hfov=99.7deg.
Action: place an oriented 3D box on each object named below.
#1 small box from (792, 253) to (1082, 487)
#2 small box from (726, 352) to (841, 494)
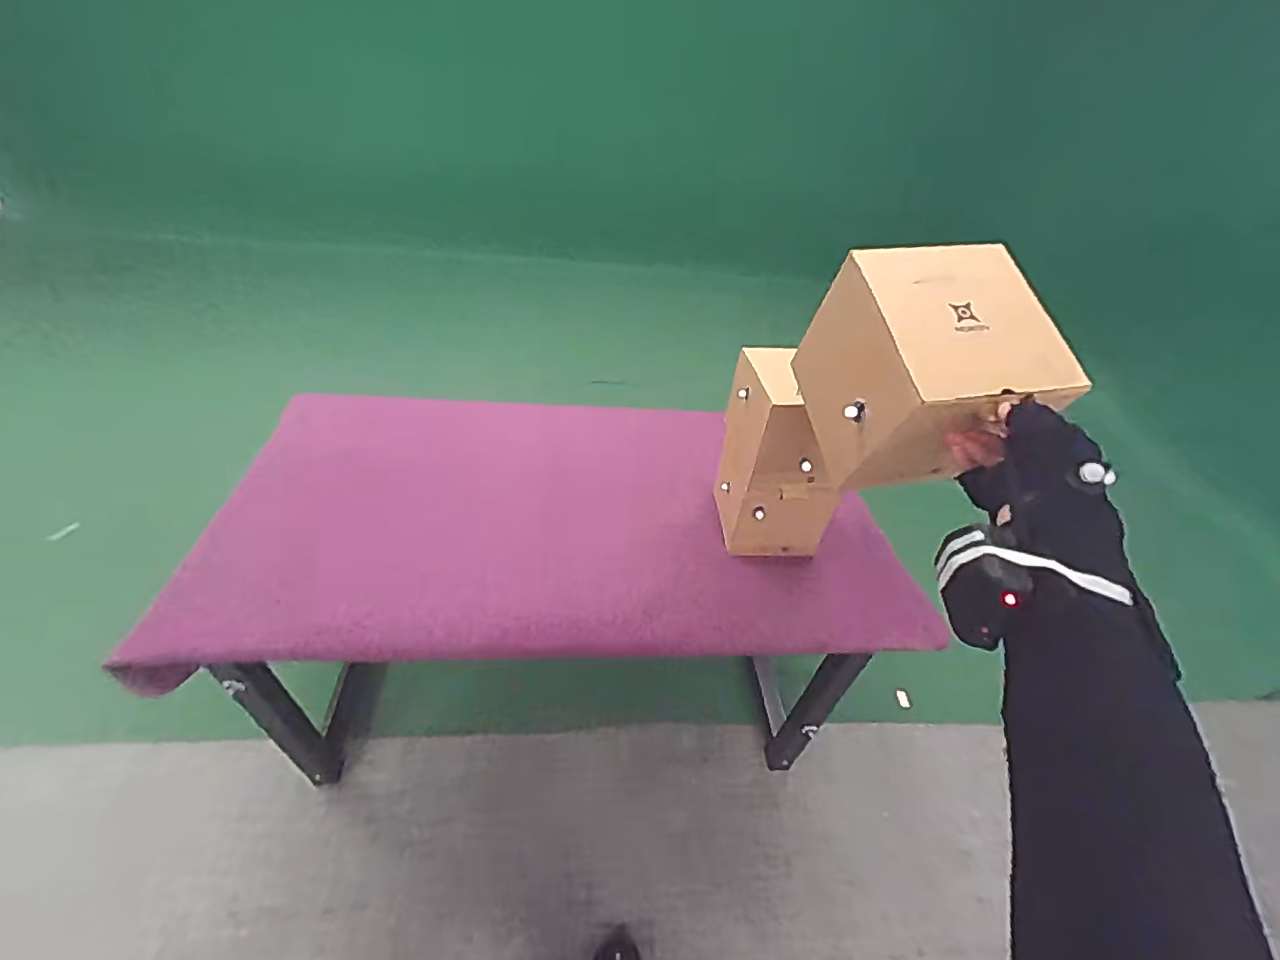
[{"bbox_3d":[0.279,-0.102,0.557,0.168,0.176,0.179,-6,65,-9],"label":"small box"},{"bbox_3d":[0.252,-0.095,0.905,0.168,0.176,0.179,-1,43,-8],"label":"small box"}]
